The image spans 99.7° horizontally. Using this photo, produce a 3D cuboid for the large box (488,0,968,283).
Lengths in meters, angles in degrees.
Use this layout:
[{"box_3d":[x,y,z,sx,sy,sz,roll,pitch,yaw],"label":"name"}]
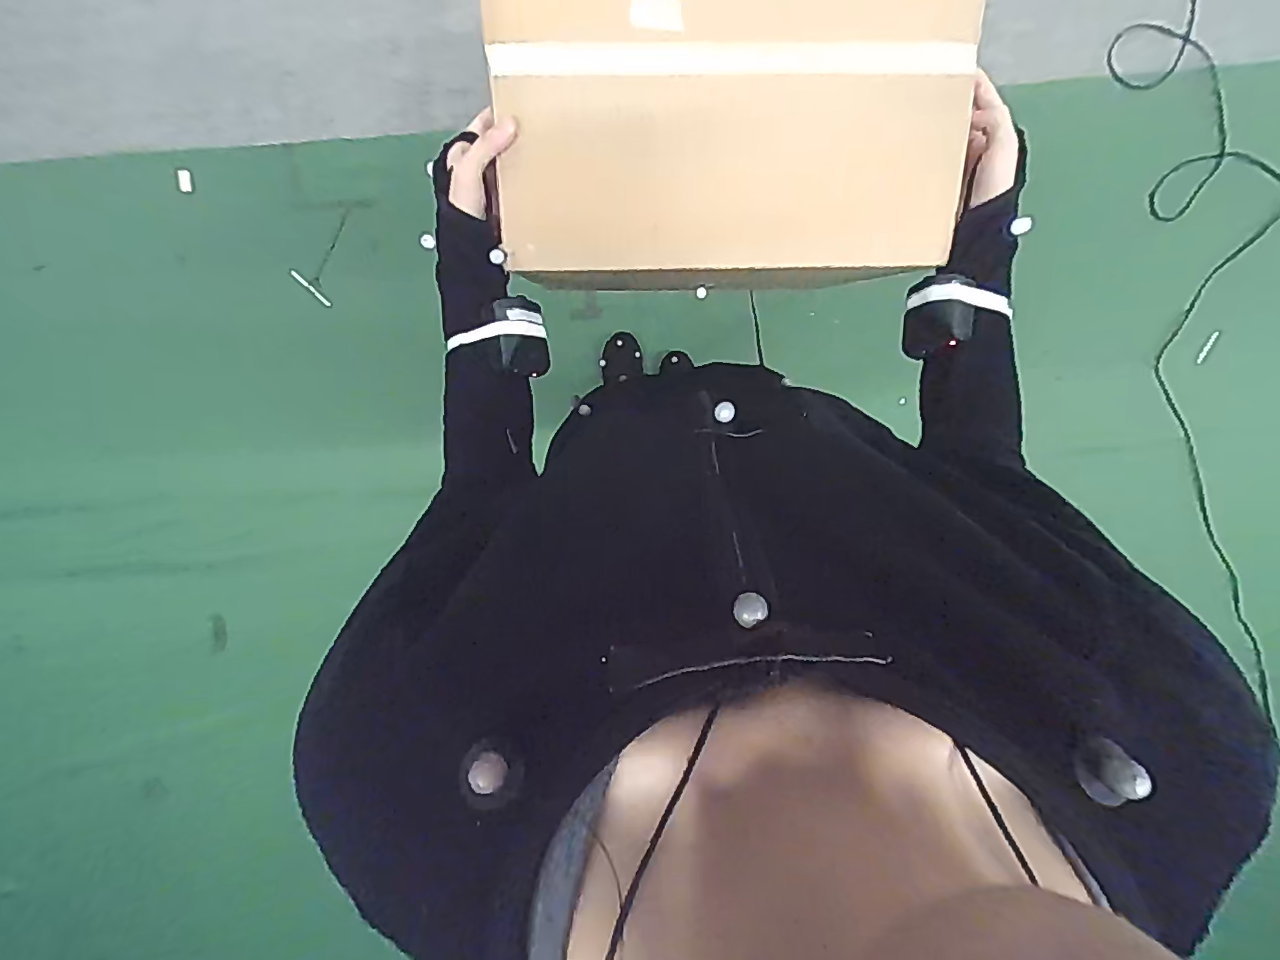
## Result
[{"box_3d":[0.071,-0.393,0.599,0.408,0.320,0.320,-2,106,-1],"label":"large box"}]
